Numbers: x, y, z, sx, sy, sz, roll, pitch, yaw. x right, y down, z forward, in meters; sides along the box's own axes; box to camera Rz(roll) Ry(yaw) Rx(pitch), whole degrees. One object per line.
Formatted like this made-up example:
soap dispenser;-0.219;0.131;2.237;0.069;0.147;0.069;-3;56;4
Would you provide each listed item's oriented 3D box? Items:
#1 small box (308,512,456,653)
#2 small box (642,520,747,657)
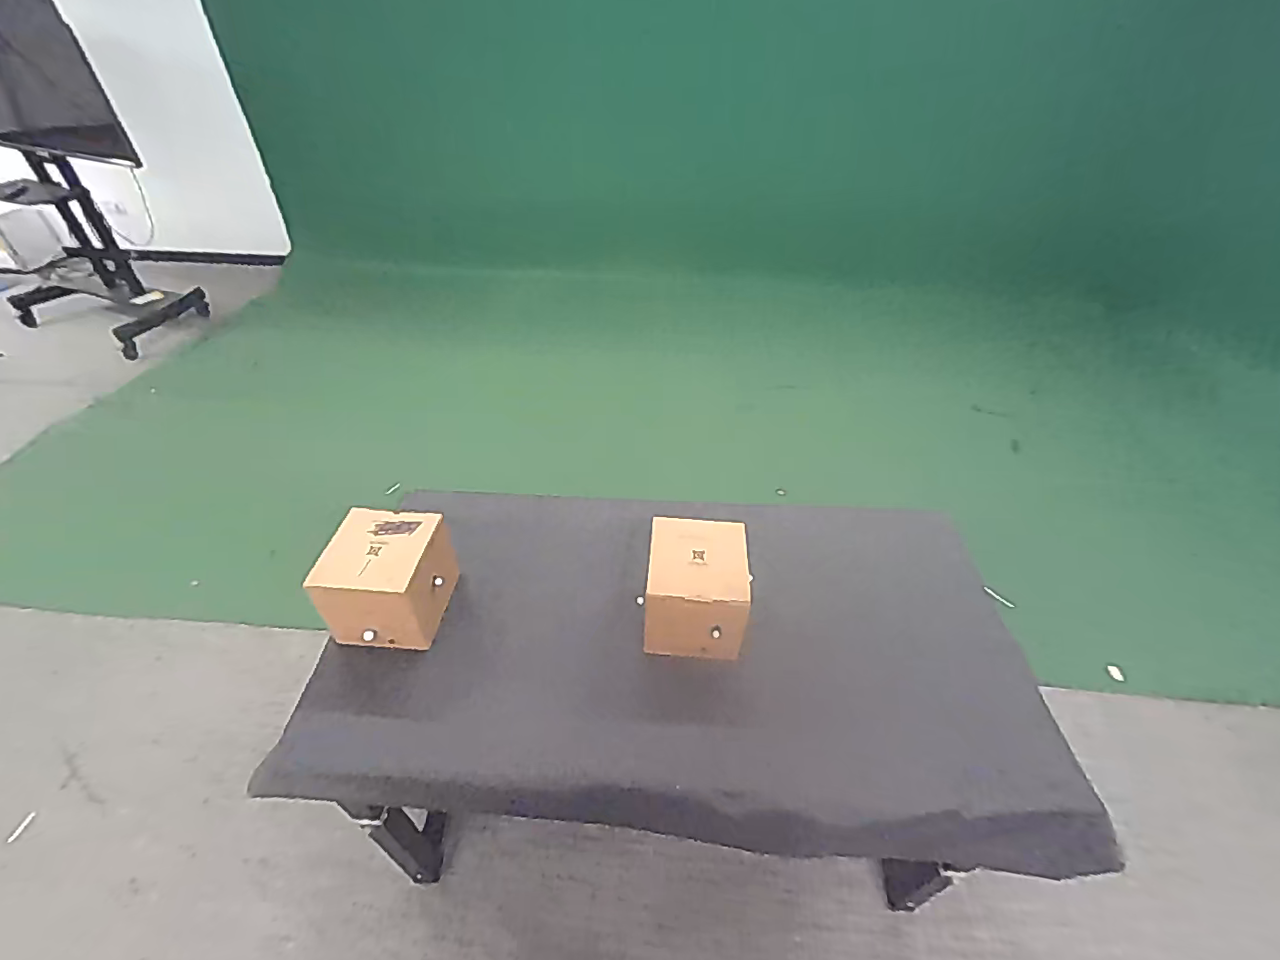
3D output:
small box;-0.439;0.180;0.958;0.168;0.176;0.179;3;42;2
small box;0.091;0.195;0.965;0.168;0.176;0.179;4;41;1
